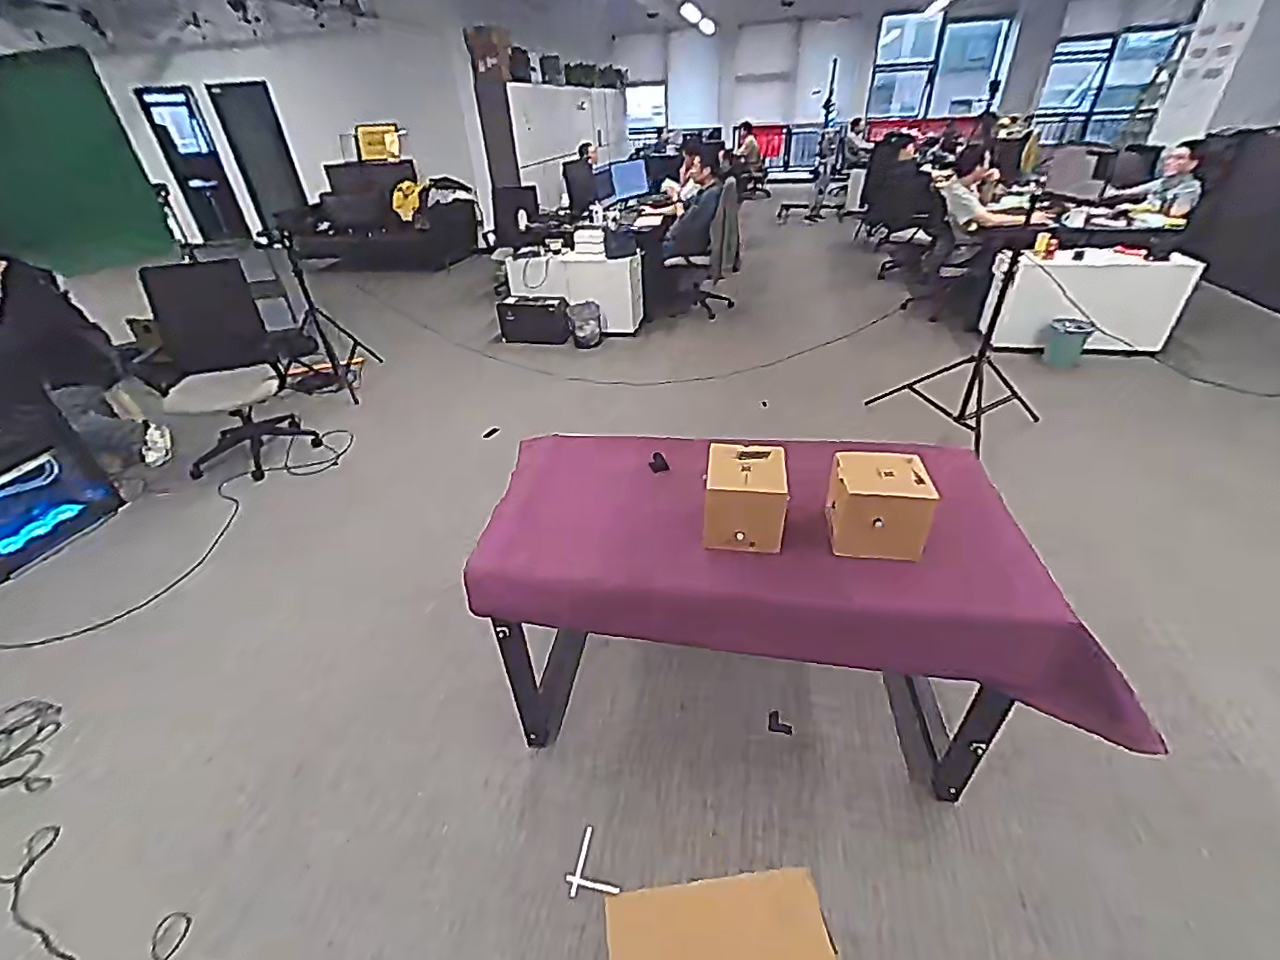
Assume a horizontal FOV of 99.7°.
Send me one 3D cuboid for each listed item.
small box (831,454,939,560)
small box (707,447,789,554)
[{"bbox_3d":[0.517,0.058,1.172,0.179,0.176,0.168,2,34,9],"label":"small box"},{"bbox_3d":[0.240,0.043,1.216,0.168,0.176,0.179,3,35,10],"label":"small box"}]
